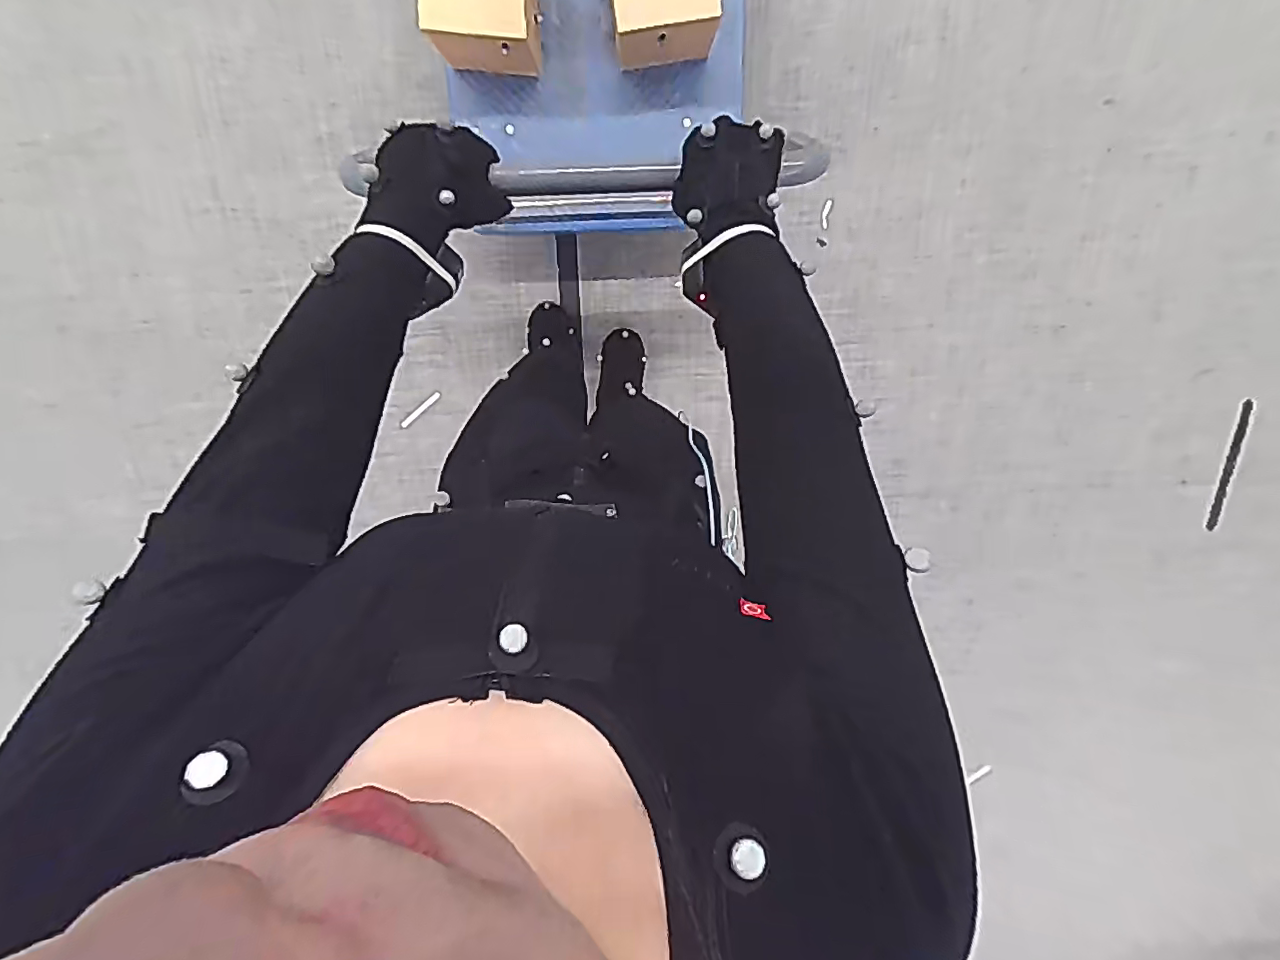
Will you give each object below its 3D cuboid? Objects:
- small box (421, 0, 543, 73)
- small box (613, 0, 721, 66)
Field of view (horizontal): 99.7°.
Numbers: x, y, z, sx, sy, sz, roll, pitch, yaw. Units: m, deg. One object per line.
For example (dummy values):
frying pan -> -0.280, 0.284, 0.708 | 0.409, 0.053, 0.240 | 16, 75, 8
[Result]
small box -> -0.268, -0.837, 0.937 | 0.179, 0.176, 0.168 | 3, 110, -4
small box -> 0.038, -0.852, 0.939 | 0.179, 0.176, 0.168 | -7, 110, 2
